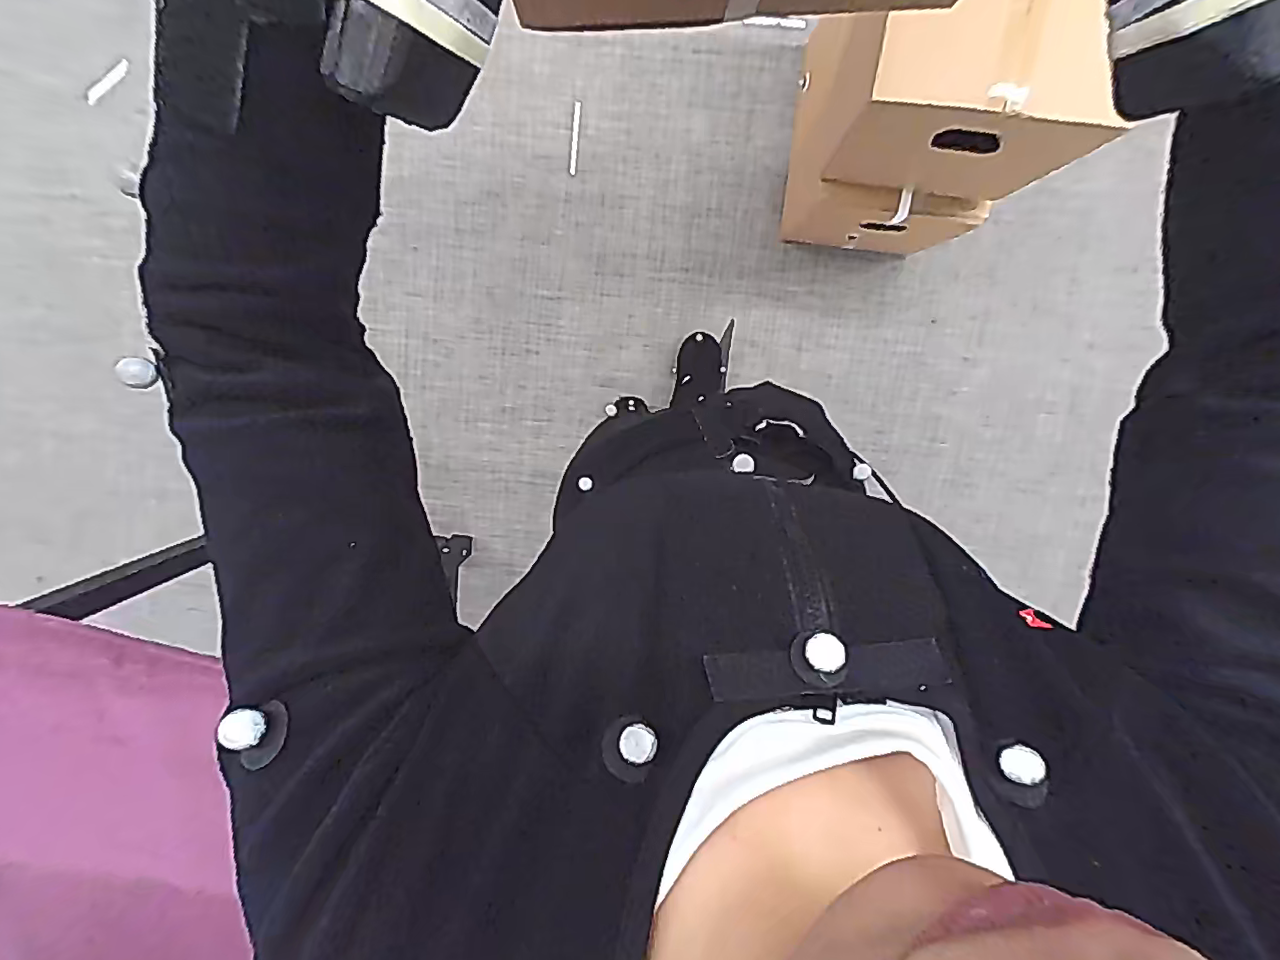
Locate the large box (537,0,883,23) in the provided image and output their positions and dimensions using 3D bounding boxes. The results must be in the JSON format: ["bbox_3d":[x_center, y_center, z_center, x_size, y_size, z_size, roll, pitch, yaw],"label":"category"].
[{"bbox_3d":[0.068,-0.494,0.196,0.320,0.320,0.408,-4,101,1],"label":"large box"}]
